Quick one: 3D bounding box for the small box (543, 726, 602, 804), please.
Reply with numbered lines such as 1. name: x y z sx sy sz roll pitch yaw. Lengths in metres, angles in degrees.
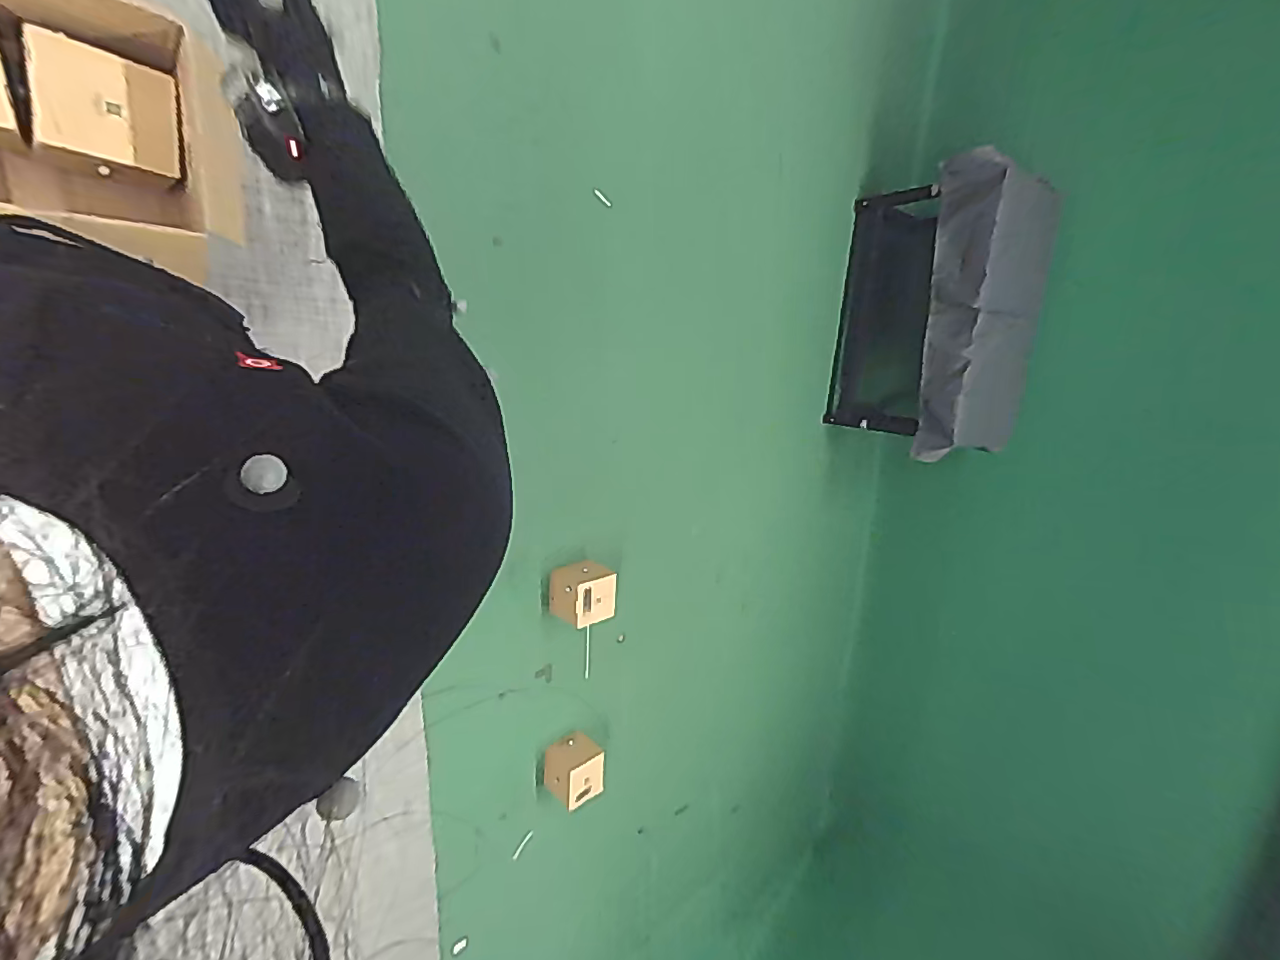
1. small box: -0.267 1.108 2.117 0.168 0.176 0.179 -9 108 -43
